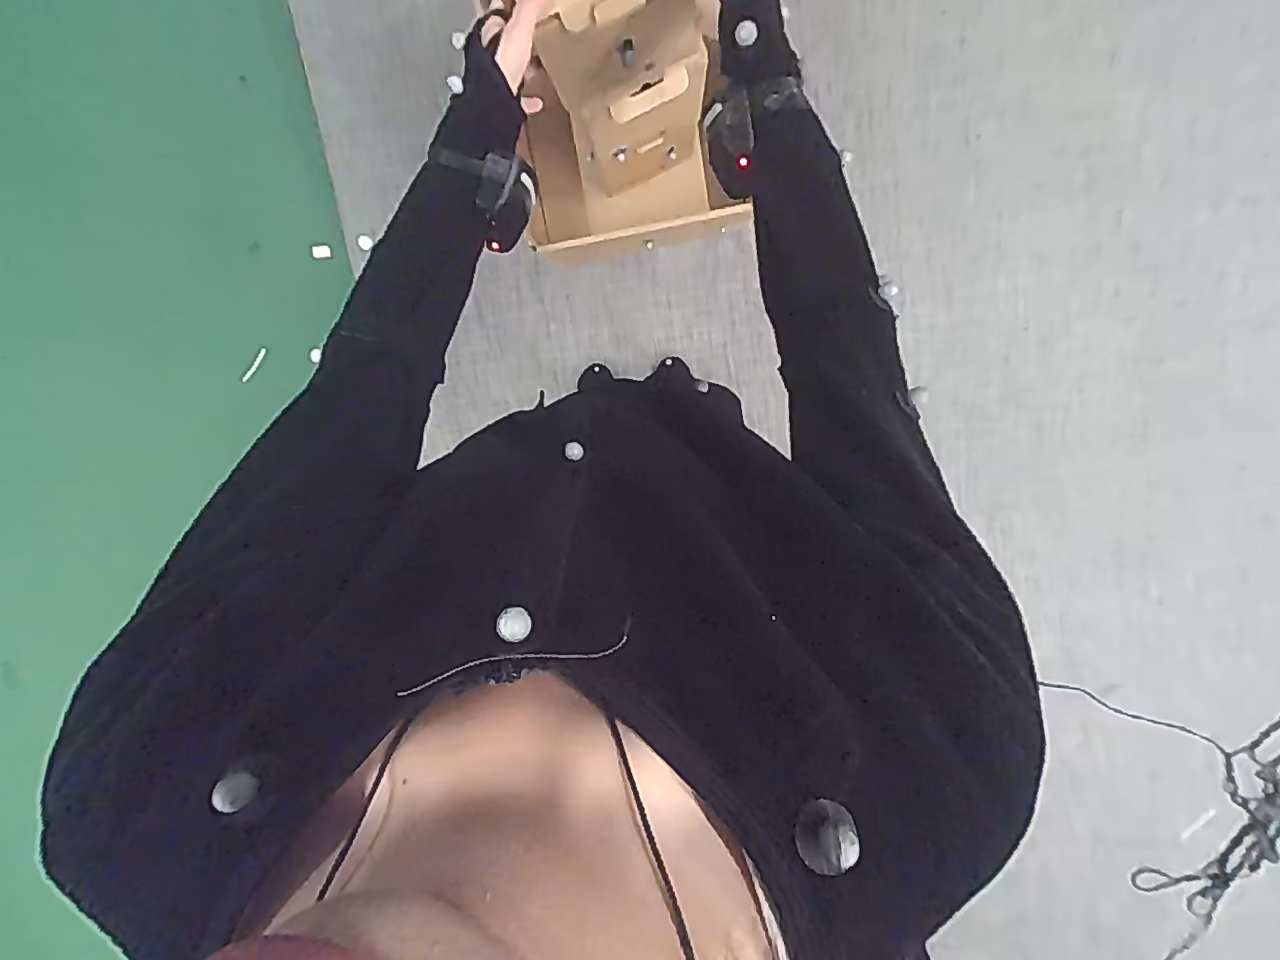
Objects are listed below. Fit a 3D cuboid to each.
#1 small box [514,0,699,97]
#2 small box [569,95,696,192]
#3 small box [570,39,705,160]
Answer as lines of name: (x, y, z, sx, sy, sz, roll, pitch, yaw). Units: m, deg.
small box: (-0.042, -0.506, 0.516, 0.168, 0.176, 0.179, -18, 103, 8)
small box: (-0.015, -0.604, 0.890, 0.168, 0.176, 0.179, -22, 100, 7)
small box: (-0.022, -0.567, 0.731, 0.168, 0.176, 0.179, -23, 99, 6)
